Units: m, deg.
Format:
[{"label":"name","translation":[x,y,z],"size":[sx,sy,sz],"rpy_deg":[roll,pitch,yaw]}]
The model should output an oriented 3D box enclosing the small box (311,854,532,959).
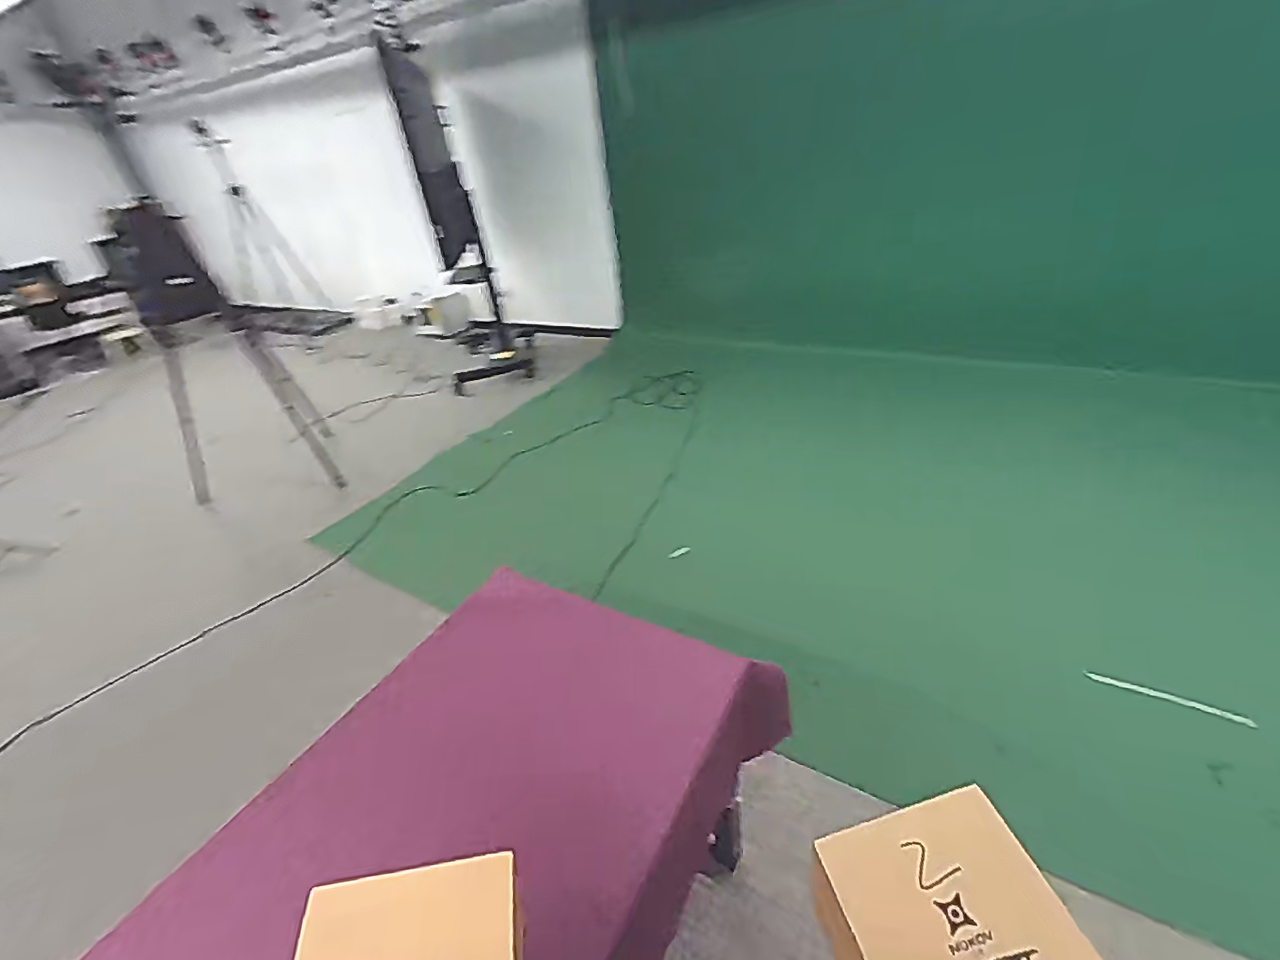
[{"label":"small box","translation":[-0.175,0.451,0.448],"size":[0.168,0.176,0.179],"rpy_deg":[-1,37,-11]}]
